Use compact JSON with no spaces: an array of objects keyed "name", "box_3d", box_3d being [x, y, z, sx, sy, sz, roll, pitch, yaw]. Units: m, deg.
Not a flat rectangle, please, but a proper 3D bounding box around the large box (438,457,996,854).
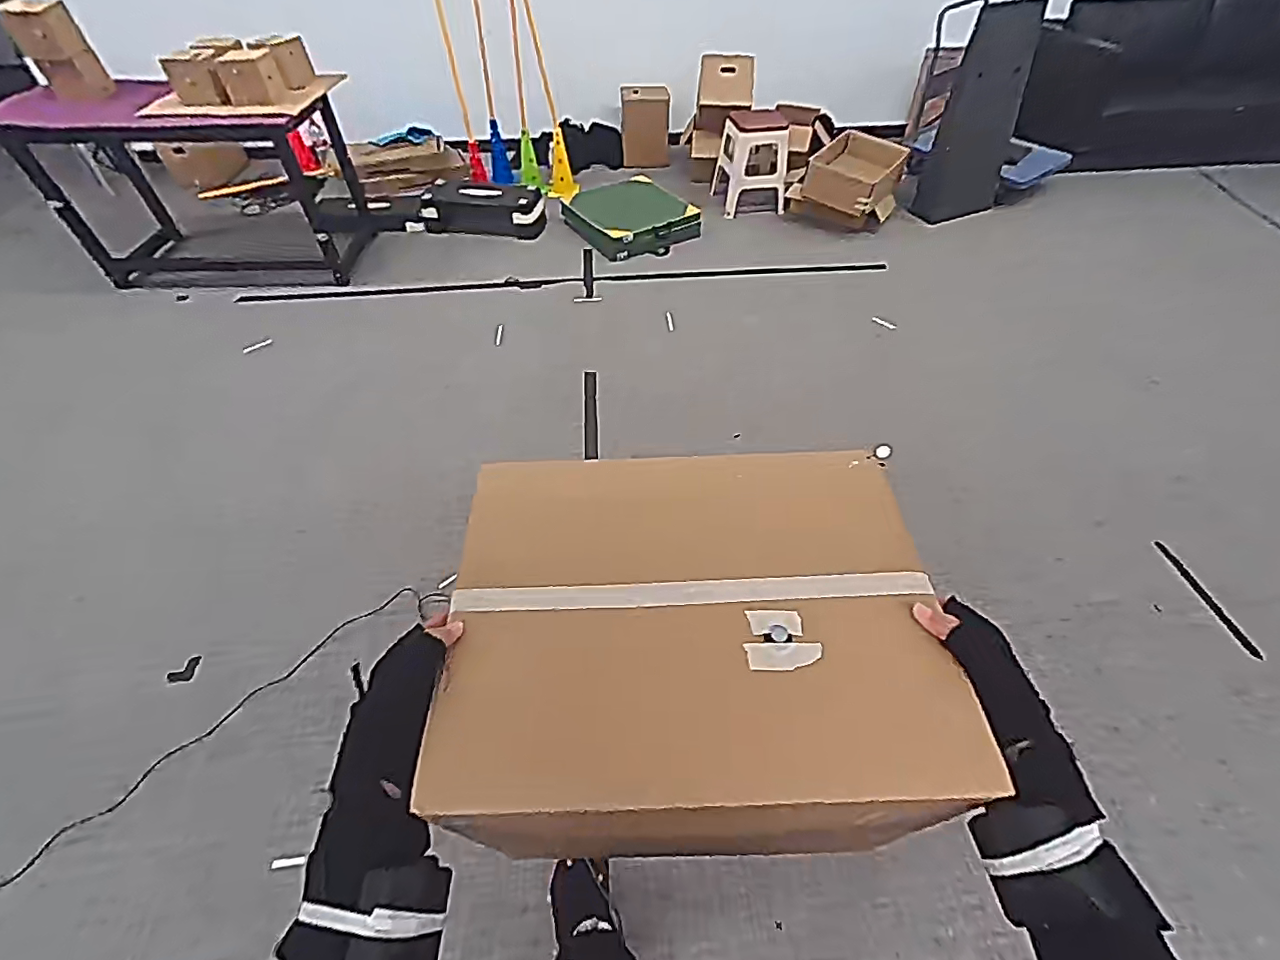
[{"name":"large box","box_3d":[0.051,0.196,0.585,0.408,0.320,0.320,-2,52,0]}]
